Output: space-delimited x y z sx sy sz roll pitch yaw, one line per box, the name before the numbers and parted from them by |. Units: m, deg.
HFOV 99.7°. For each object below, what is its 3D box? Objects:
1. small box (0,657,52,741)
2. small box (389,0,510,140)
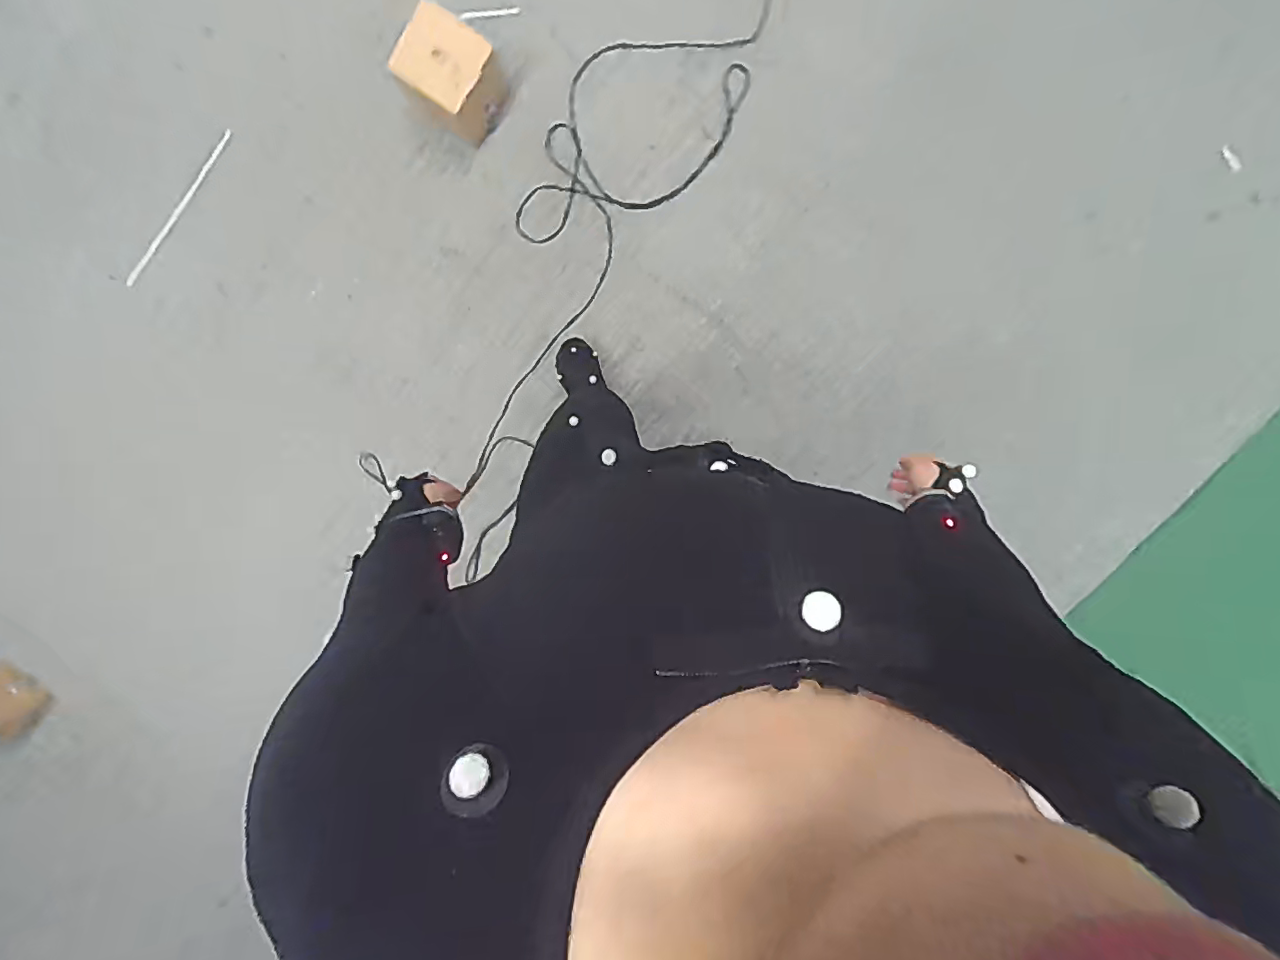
small box | -1.821 0.634 1.499 0.168 0.176 0.179 41 96 -8
small box | -0.424 -0.923 1.231 0.179 0.176 0.168 32 98 -6
